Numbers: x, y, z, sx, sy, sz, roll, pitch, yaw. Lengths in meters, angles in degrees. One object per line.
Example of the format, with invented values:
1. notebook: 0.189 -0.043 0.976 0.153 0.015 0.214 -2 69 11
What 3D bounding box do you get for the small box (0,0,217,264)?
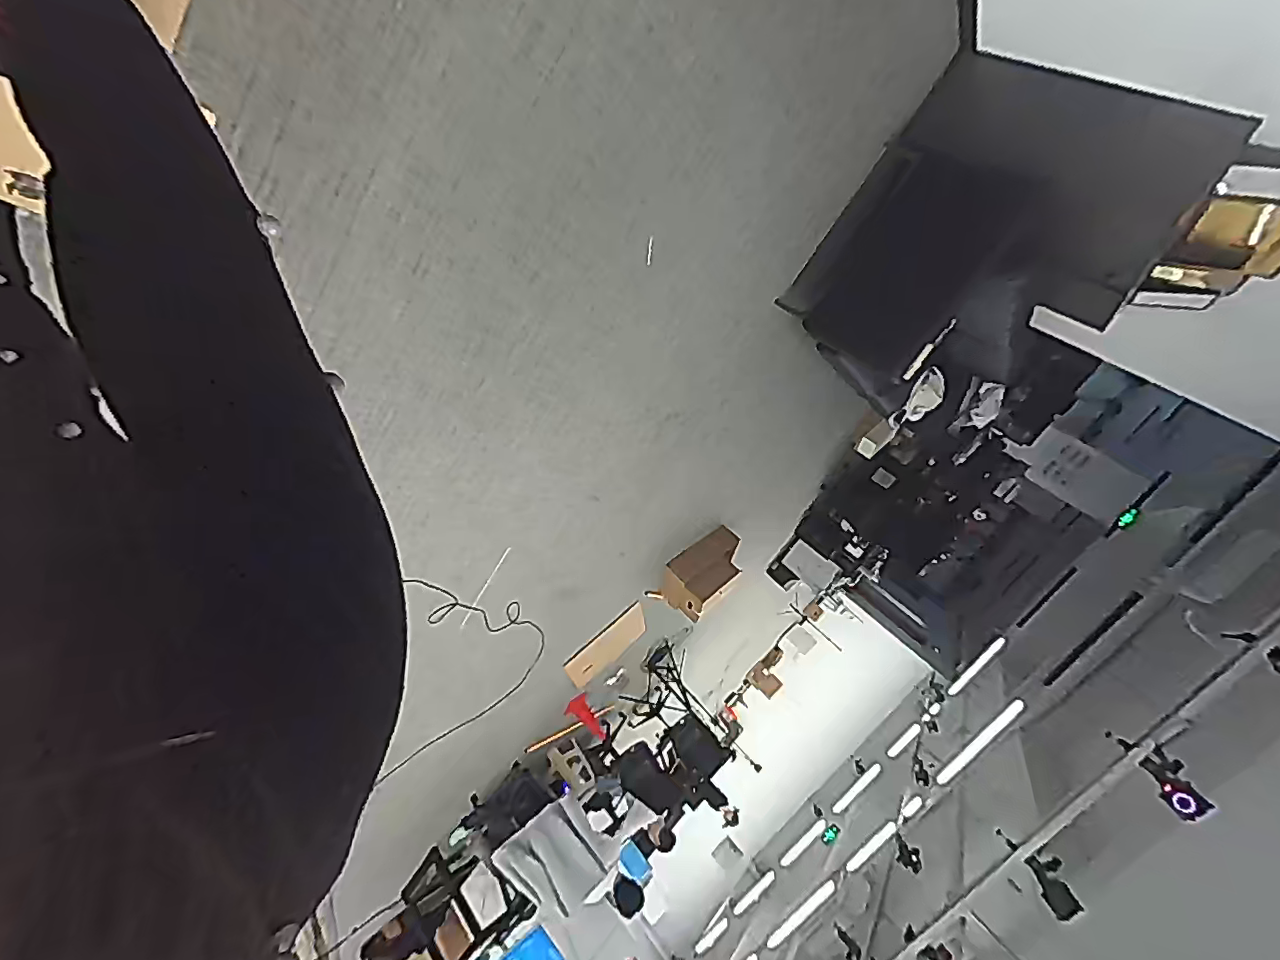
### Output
1. small box: -0.595 -0.370 0.564 0.179 0.176 0.168 -56 152 11
